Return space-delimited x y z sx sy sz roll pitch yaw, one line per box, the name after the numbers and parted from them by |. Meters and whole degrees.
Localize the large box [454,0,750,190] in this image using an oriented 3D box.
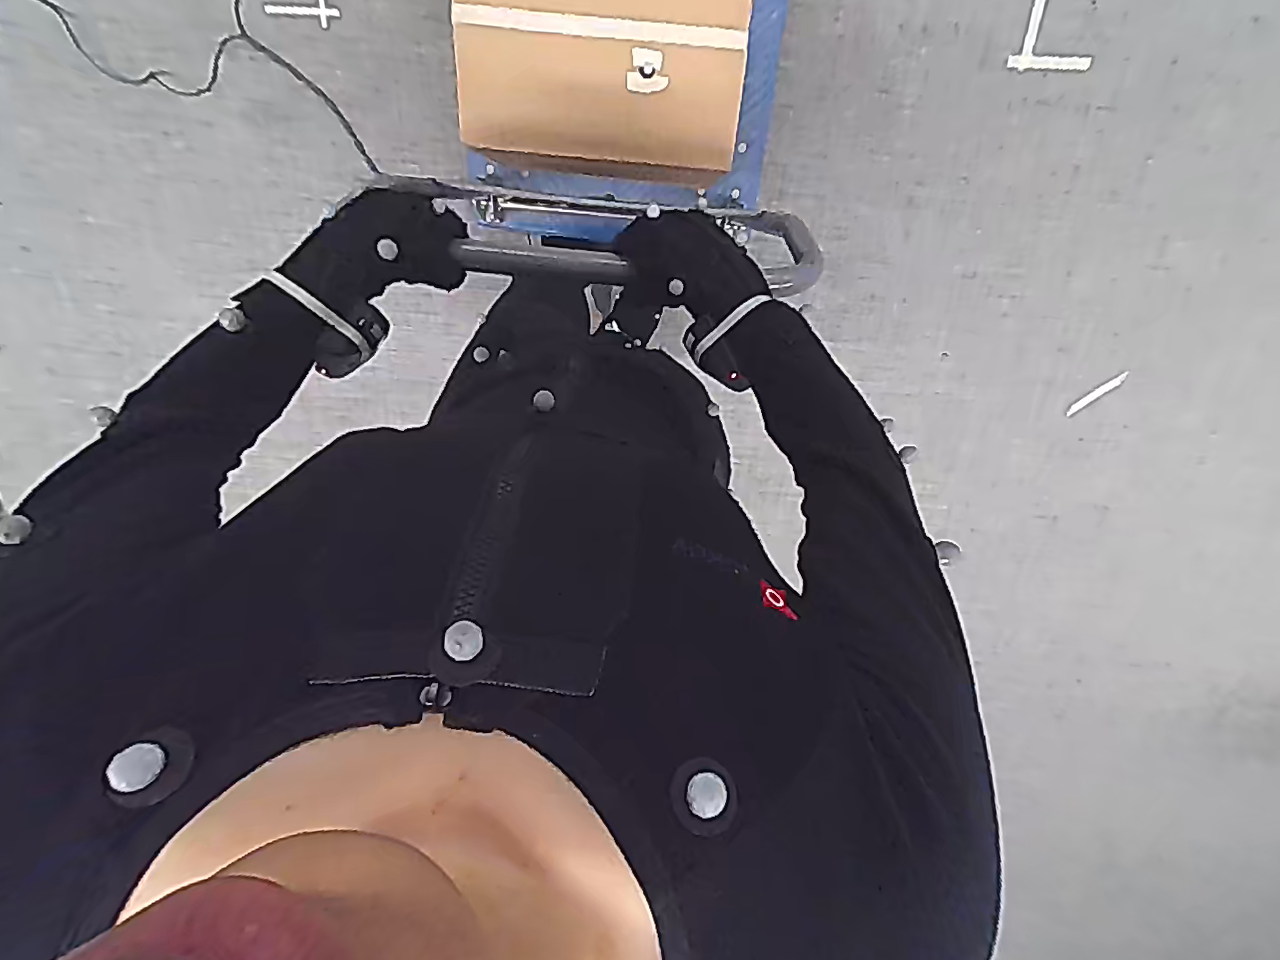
-0.057 -0.667 0.875 0.408 0.320 0.320 4 115 -3 | large box
